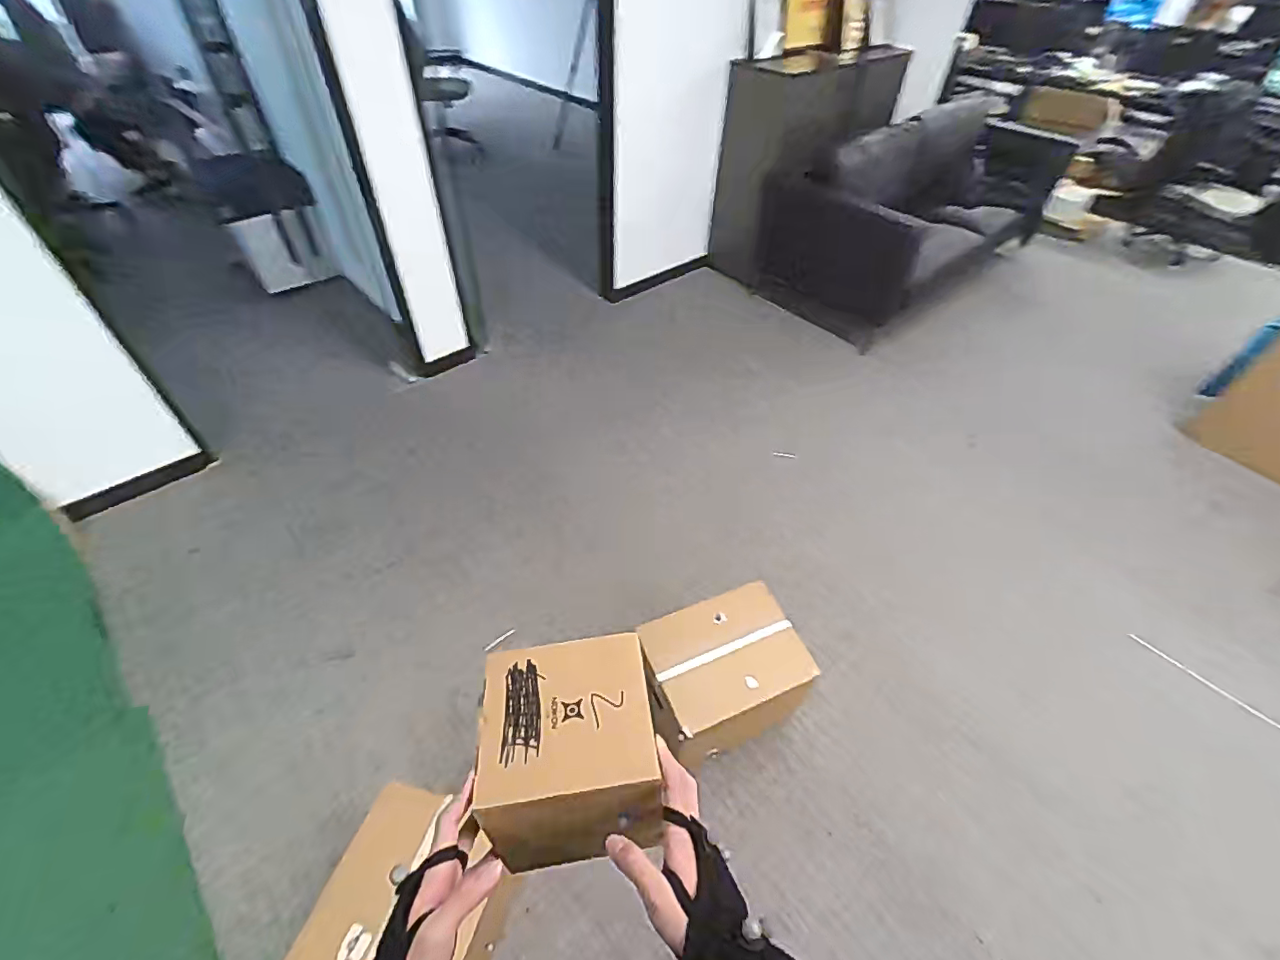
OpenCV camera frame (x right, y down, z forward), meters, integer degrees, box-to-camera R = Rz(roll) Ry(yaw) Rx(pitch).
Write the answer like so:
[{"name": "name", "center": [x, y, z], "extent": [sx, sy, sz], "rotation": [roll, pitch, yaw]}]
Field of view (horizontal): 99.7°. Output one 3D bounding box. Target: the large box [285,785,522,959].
[{"name": "large box", "center": [-0.478, 0.935, 1.138], "extent": [0.320, 0.320, 0.408], "rotation": [13, 48, 9]}]
